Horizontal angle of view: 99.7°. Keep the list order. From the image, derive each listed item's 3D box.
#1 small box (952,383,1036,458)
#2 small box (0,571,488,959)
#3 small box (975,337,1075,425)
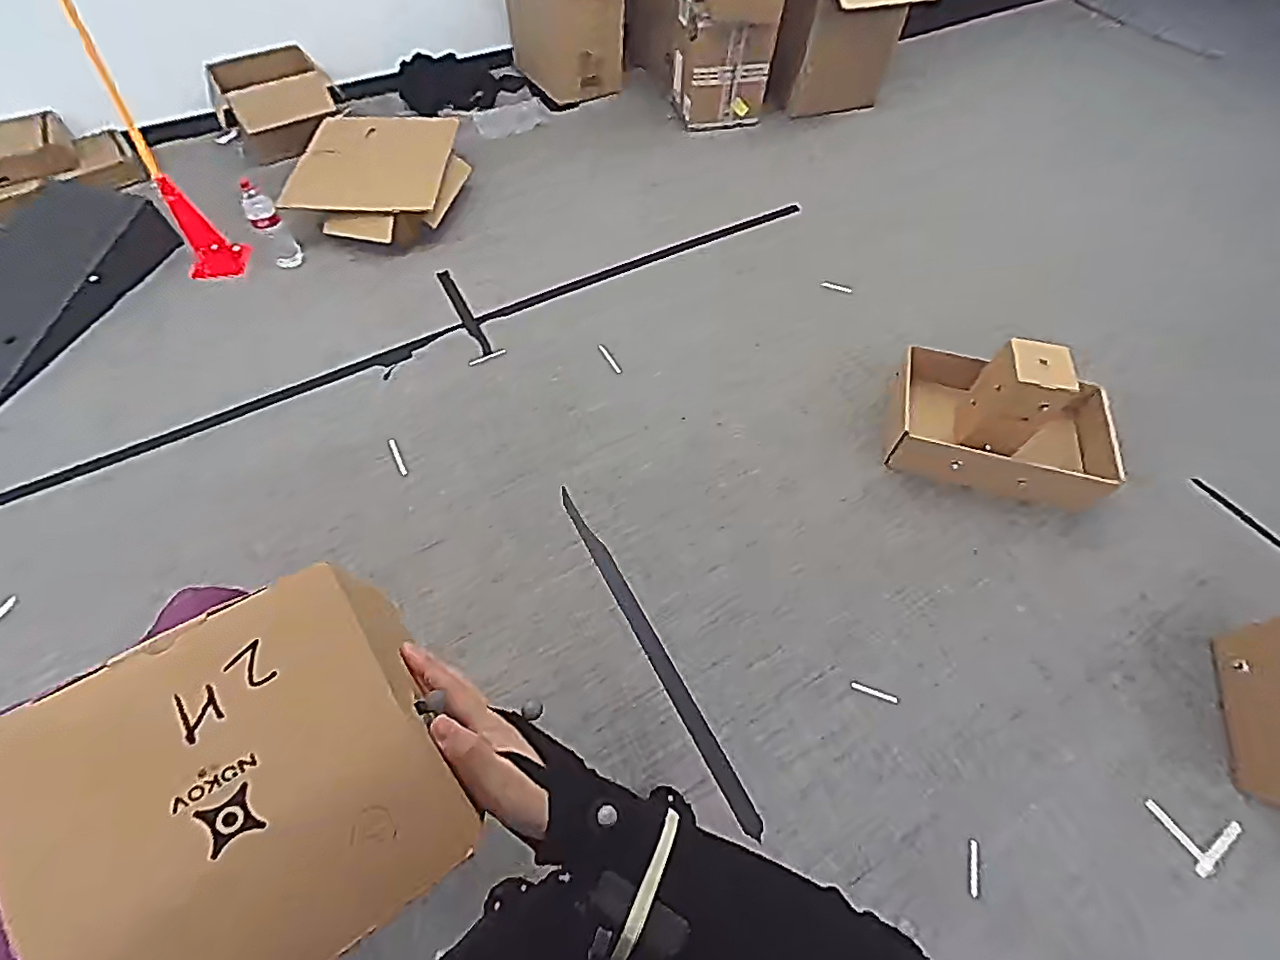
[{"bbox_3d":[1.120,-0.200,1.726,0.168,0.176,0.179,14,60,7],"label":"small box"},{"bbox_3d":[-0.205,0.181,0.331,0.168,0.176,0.179,-29,79,-22],"label":"small box"},{"bbox_3d":[1.120,-0.287,1.589,0.168,0.176,0.179,11,58,3],"label":"small box"}]
